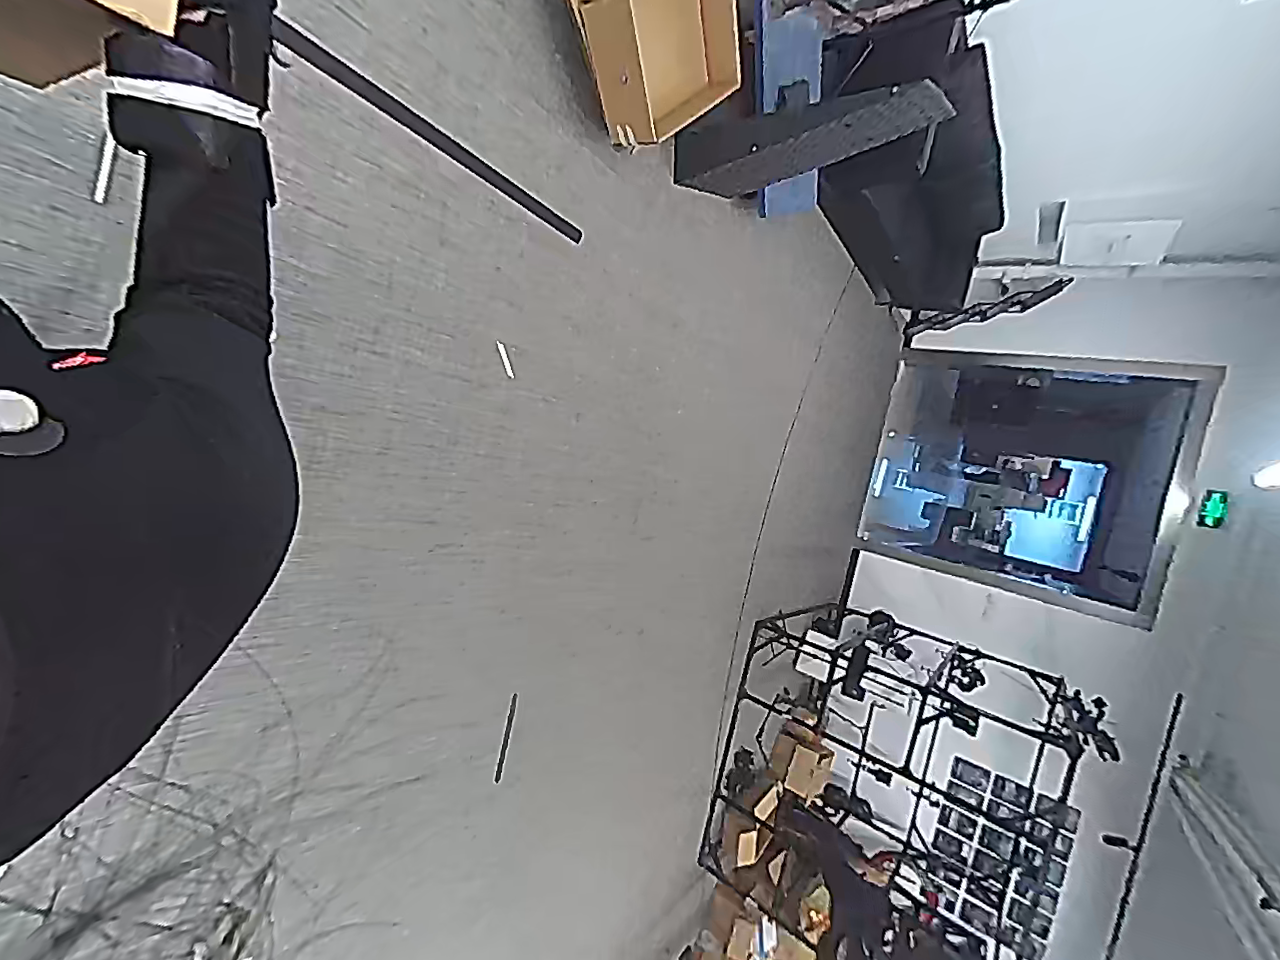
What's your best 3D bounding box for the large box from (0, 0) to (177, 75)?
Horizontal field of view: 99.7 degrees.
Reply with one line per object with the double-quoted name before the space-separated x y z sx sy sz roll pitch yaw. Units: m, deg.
"large box" -0.490 -0.455 0.217 0.408 0.320 0.320 -4 110 -59
